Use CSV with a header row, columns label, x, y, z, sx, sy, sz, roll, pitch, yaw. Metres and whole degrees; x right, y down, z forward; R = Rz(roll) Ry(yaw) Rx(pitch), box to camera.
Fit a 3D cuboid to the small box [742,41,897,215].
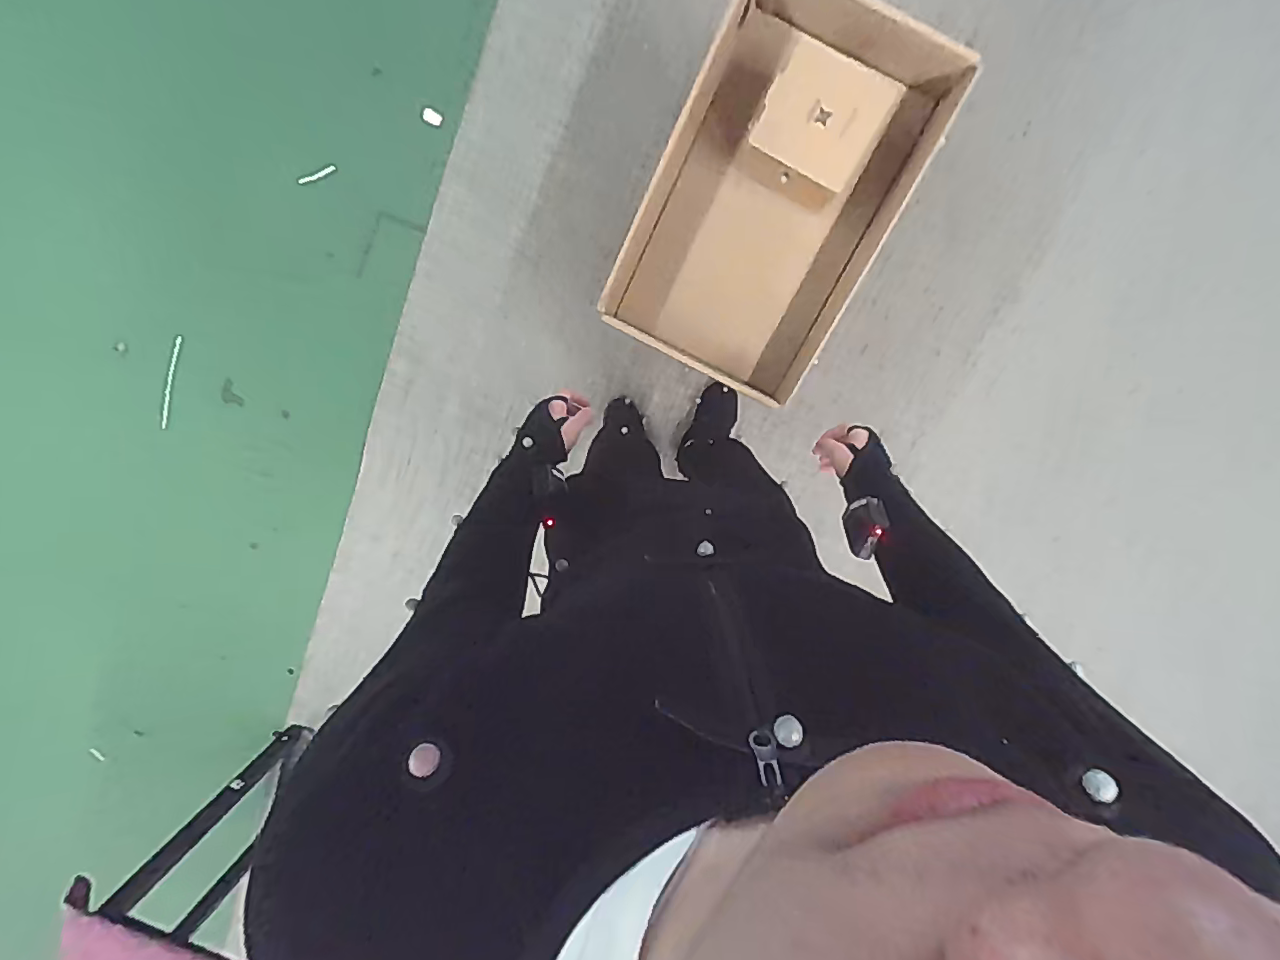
label,x,y,z,sx,sy,sz,roll,pitch,yaw
small box,0.293,-0.585,0.930,0.179,0.176,0.168,29,105,-3
